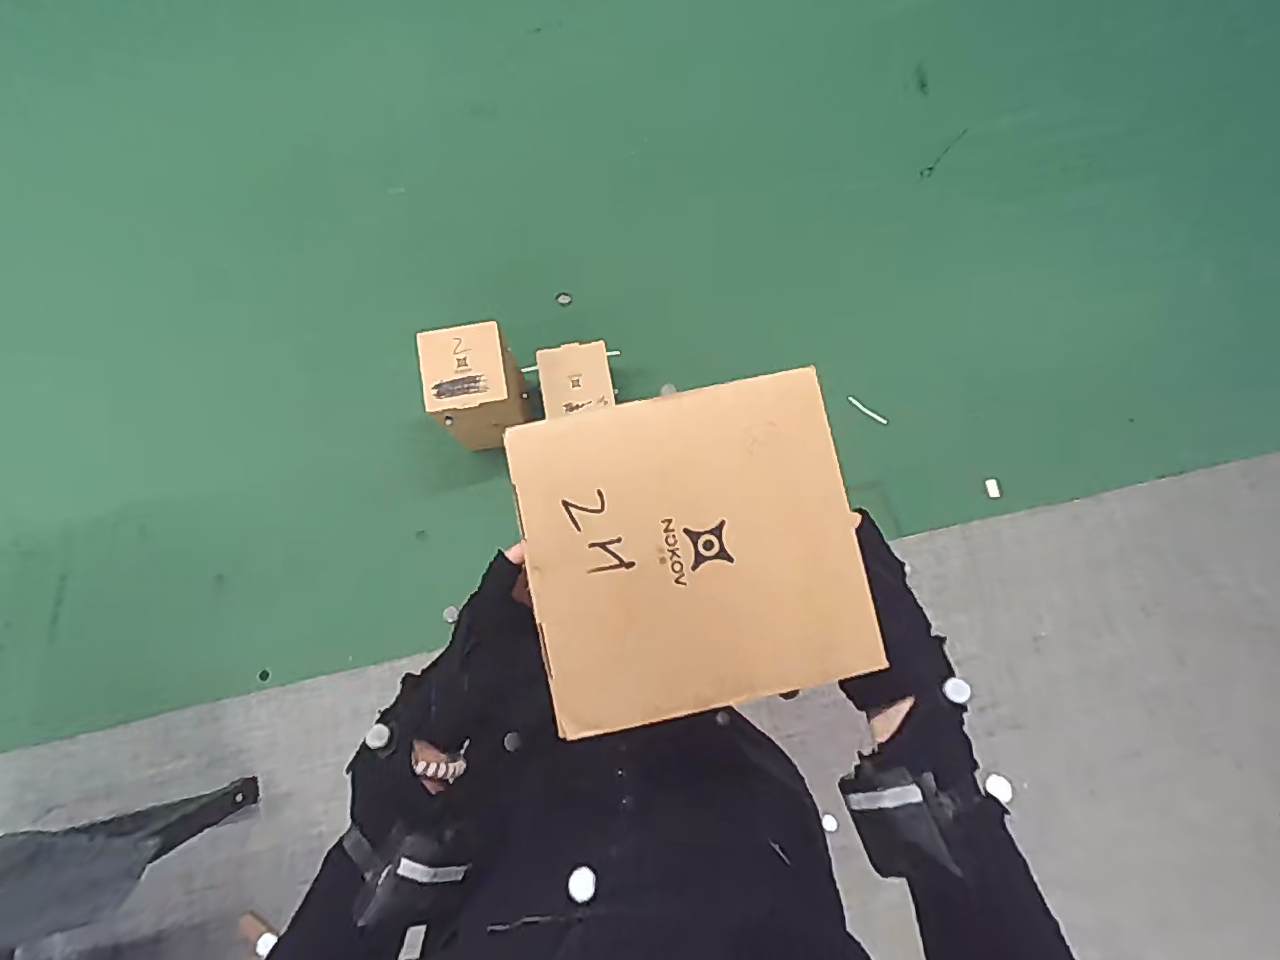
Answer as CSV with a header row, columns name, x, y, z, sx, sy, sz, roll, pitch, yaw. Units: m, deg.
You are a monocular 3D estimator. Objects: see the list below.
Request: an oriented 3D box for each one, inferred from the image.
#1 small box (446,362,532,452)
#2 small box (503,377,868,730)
name,x,y,z,sx,sy,sz,roll,pitch,yaw
small box,-0.366,-0.171,1.338,0.168,0.176,0.179,-8,80,-2
small box,0.022,0.044,0.374,0.179,0.176,0.168,-12,84,-2
